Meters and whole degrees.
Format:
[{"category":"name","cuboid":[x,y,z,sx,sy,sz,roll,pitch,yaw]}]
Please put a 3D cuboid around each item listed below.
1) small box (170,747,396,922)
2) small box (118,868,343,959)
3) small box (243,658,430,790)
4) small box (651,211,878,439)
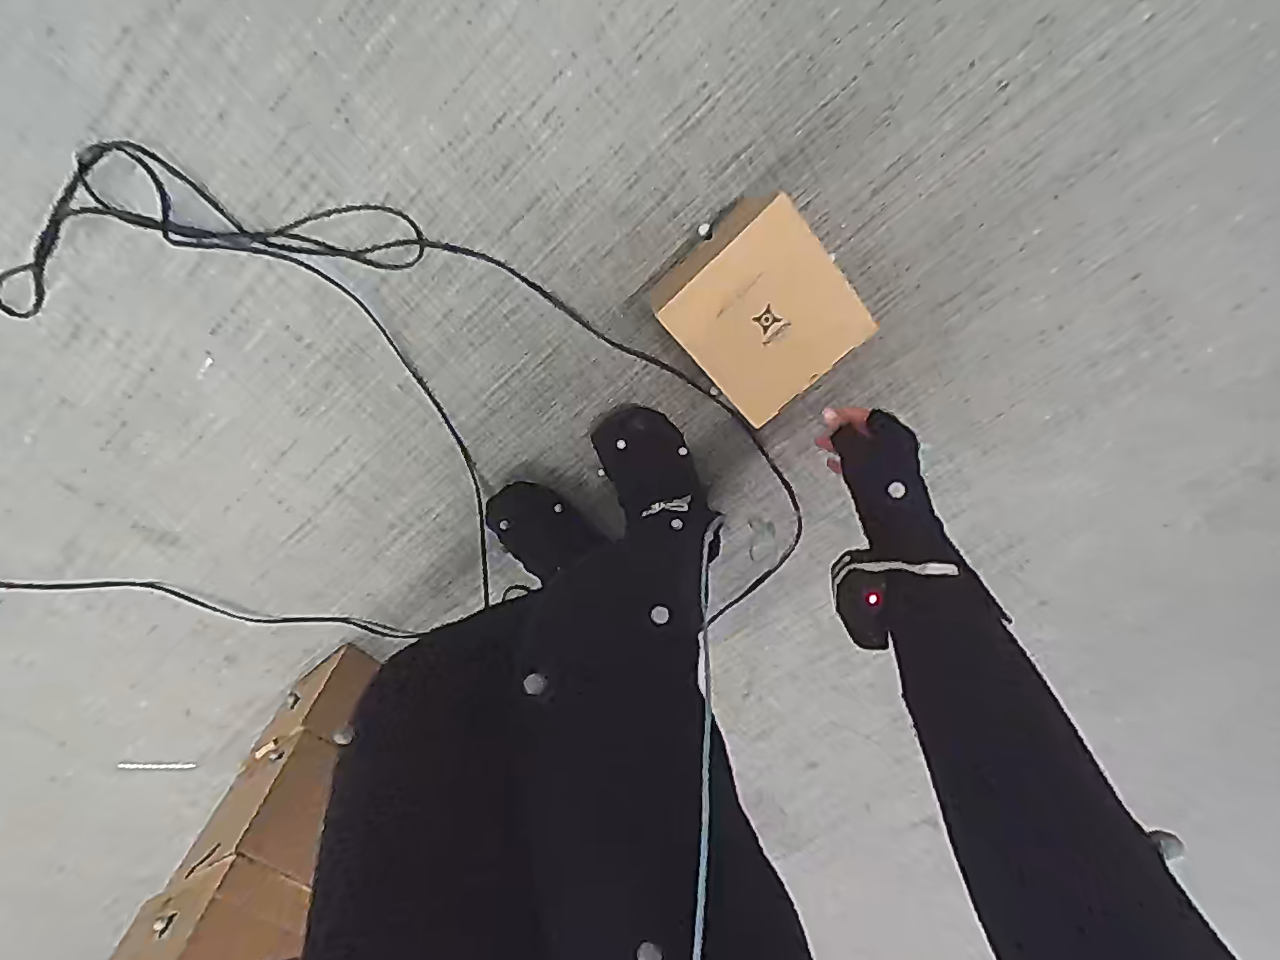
[{"category":"small box","cuboid":[-0.485,0.508,0.756,0.168,0.176,0.179,-36,114,14]},{"category":"small box","cuboid":[-0.485,0.586,0.613,0.168,0.176,0.179,-31,114,12]},{"category":"small box","cuboid":[-0.491,0.427,0.902,0.168,0.176,0.179,-38,111,19]},{"category":"small box","cuboid":[0.130,-0.185,0.623,0.168,0.176,0.179,-40,112,15]}]
